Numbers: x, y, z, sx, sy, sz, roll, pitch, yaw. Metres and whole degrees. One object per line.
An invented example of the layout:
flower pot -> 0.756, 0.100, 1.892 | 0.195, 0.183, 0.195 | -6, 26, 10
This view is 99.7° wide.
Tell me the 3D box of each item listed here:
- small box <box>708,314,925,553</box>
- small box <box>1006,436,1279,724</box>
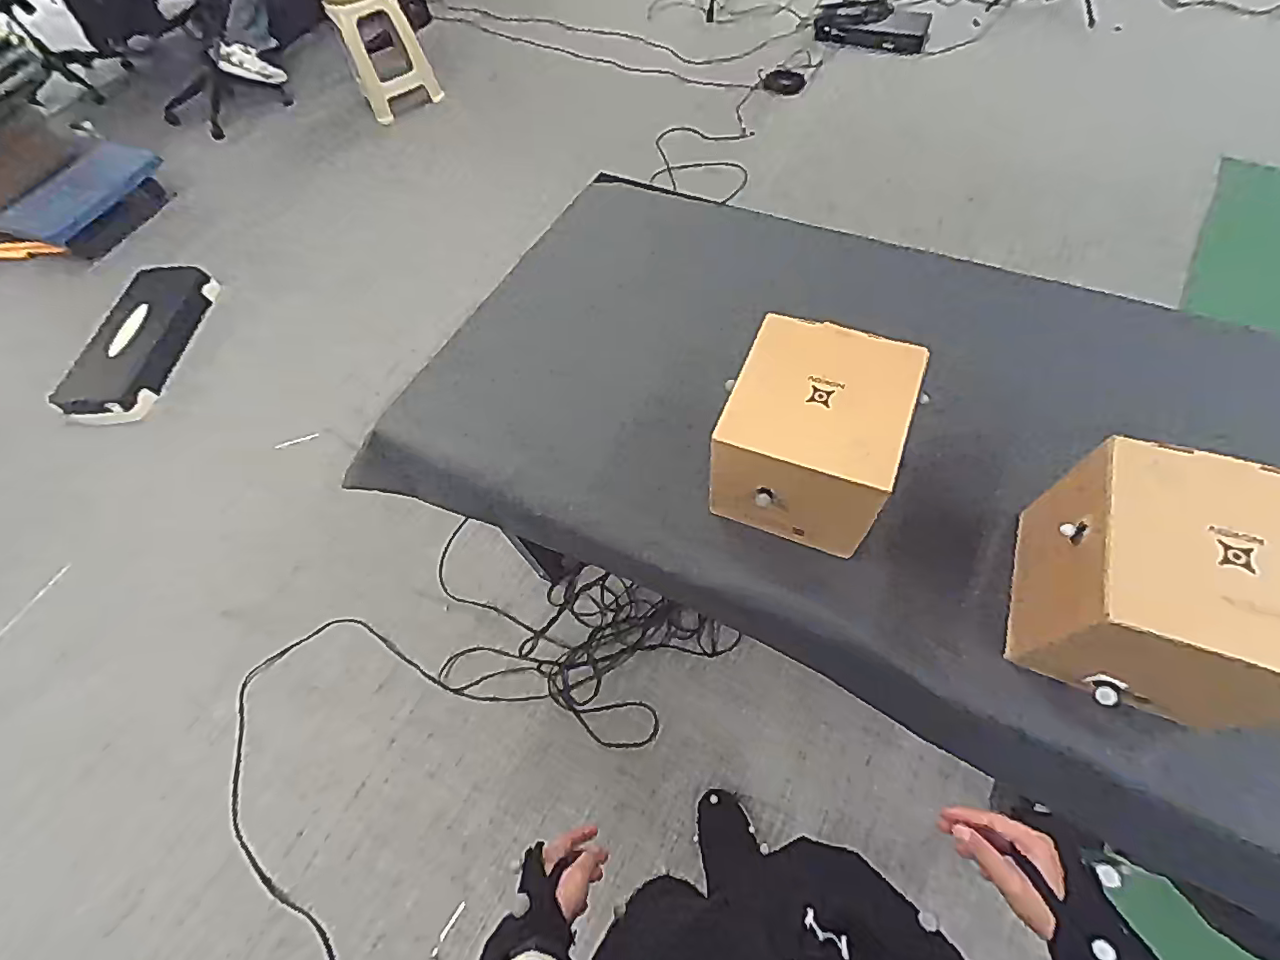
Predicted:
small box -> 0.181, -0.044, 0.587 | 0.168, 0.176, 0.179 | 18, 64, 16
small box -> 0.456, 0.094, 0.479 | 0.168, 0.176, 0.179 | 16, 65, 16
